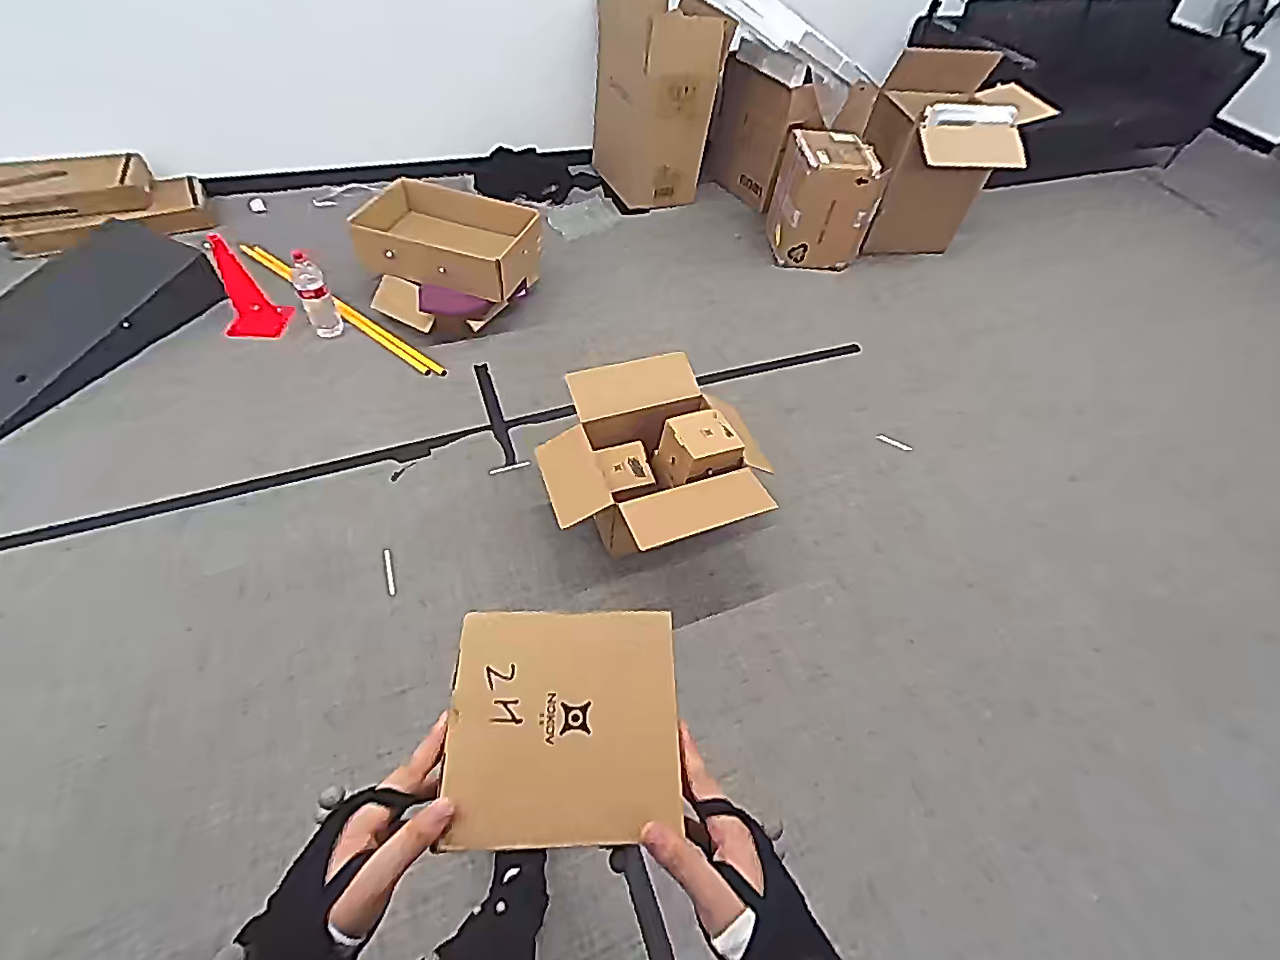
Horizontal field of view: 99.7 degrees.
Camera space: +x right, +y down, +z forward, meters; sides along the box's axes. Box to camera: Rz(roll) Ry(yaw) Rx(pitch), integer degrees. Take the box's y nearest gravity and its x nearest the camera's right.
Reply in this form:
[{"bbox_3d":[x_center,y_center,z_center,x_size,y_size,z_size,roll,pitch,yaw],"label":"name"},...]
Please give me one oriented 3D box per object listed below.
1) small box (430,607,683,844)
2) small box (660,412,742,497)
[{"bbox_3d":[-0.065,0.219,0.481,0.179,0.176,0.168,0,57,-4],"label":"small box"},{"bbox_3d":[0.168,-0.072,1.592,0.179,0.176,0.168,-16,55,-21],"label":"small box"}]
